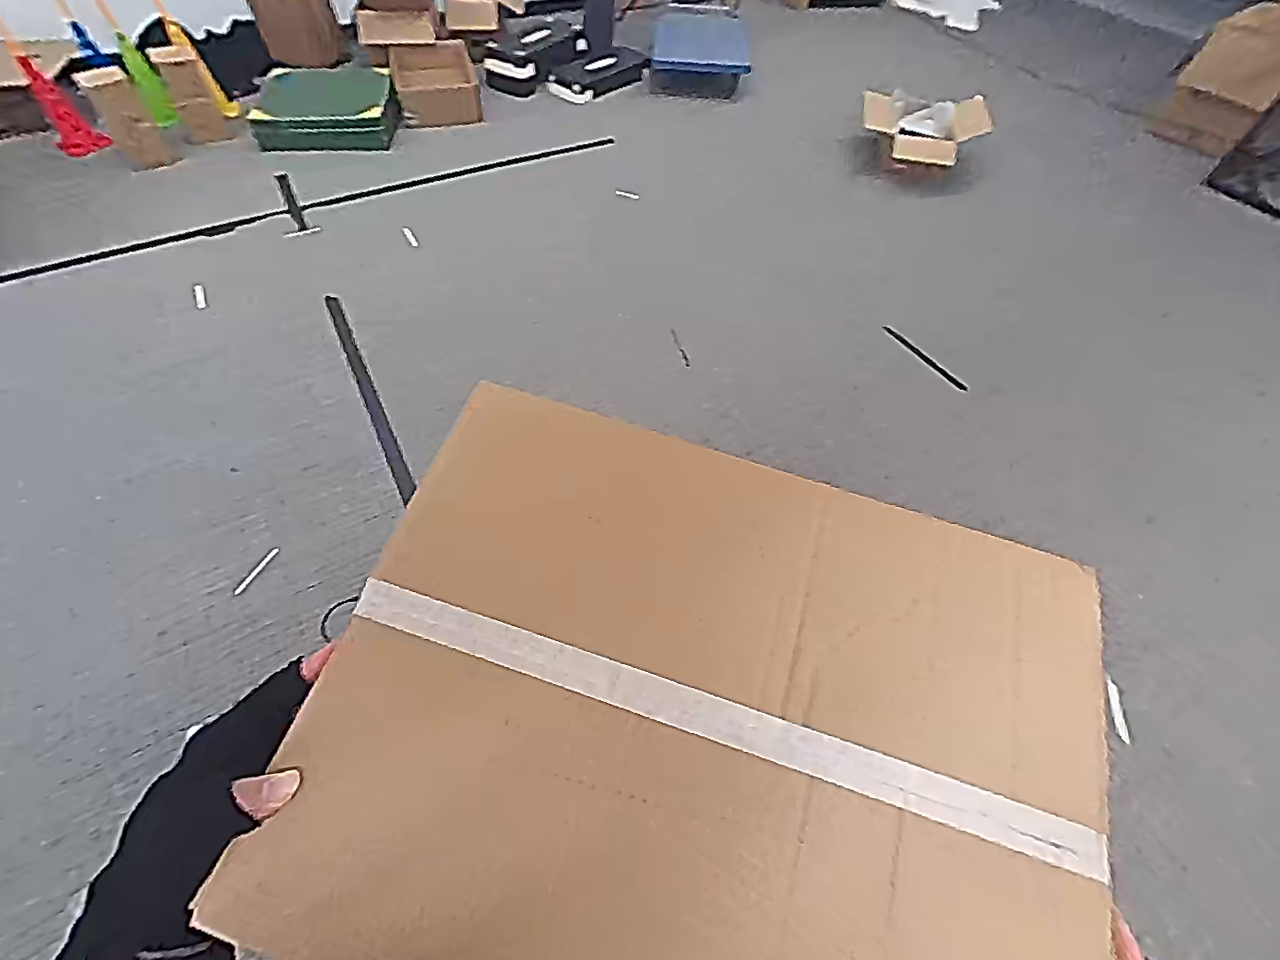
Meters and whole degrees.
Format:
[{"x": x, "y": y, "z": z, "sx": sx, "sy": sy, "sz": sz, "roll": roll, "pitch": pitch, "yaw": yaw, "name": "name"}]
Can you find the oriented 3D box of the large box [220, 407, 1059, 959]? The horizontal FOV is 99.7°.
[{"x": 0.022, "y": 0.192, "z": 0.437, "sx": 0.408, "sy": 0.320, "sz": 0.320, "roll": 16, "pitch": 66, "yaw": 6, "name": "large box"}]
